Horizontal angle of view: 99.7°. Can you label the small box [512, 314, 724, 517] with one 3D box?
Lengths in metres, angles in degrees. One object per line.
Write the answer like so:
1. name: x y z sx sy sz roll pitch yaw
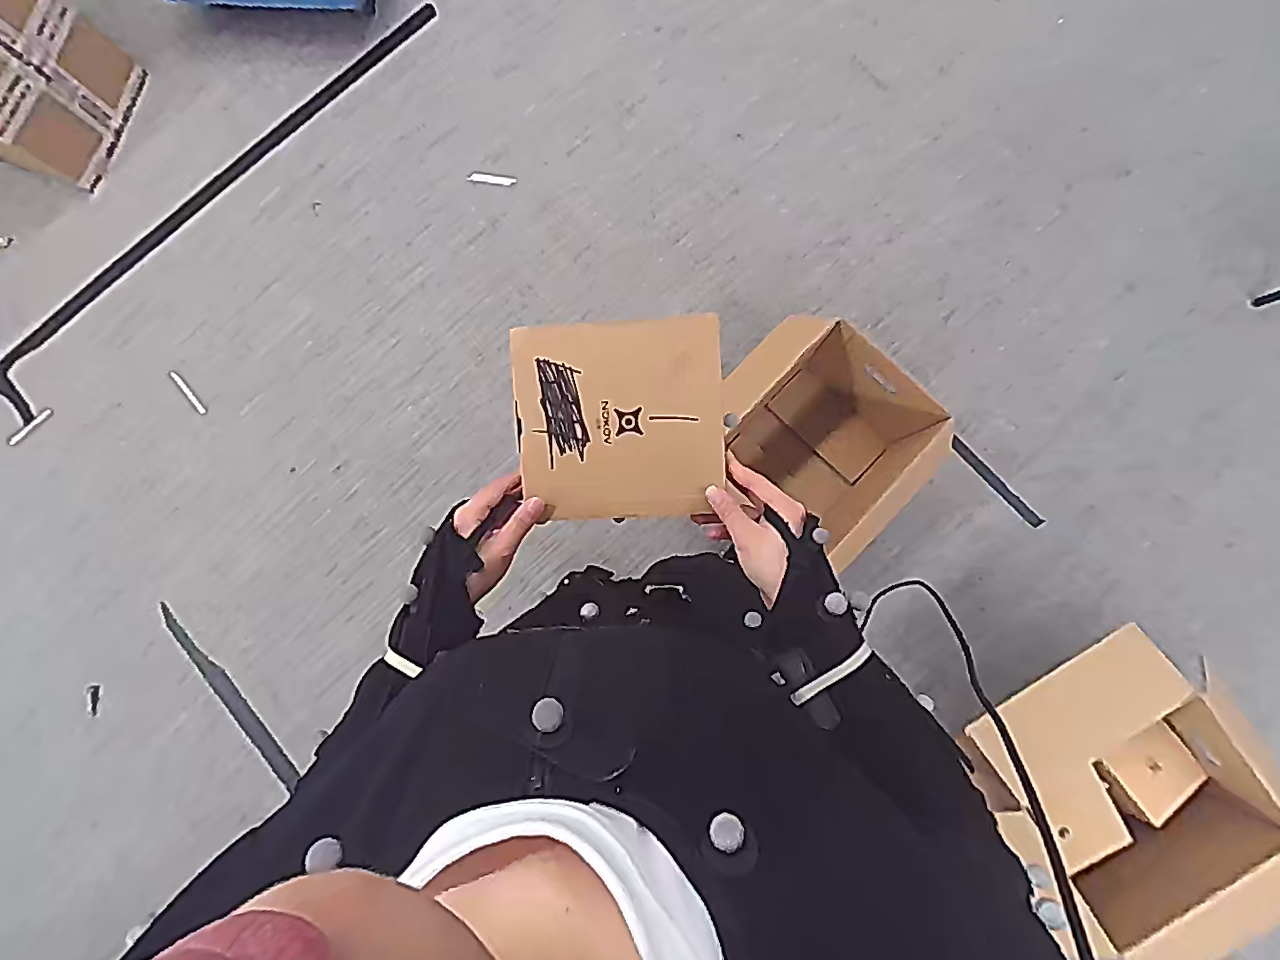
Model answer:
1. small box: -0.008 -0.059 0.527 0.179 0.176 0.168 -2 97 7
